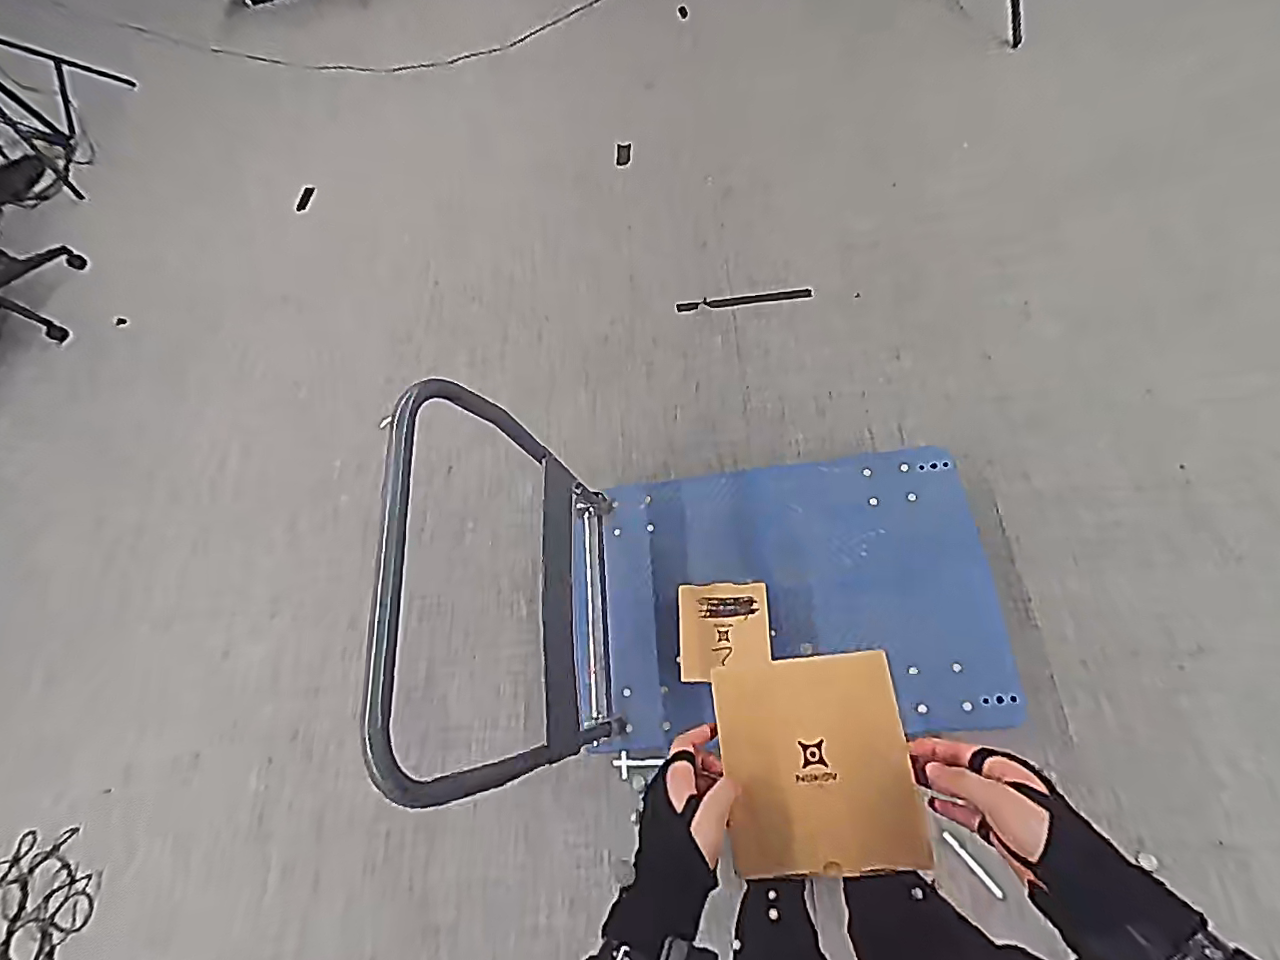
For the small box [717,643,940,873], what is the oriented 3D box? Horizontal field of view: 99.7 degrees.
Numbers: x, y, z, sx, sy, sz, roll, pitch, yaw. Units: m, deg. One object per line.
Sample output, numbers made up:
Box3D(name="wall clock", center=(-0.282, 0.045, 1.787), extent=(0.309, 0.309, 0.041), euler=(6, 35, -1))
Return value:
Box3D(name="small box", center=(0.171, 0.270, 0.555), extent=(0.168, 0.176, 0.179), euler=(-9, 70, 7))
